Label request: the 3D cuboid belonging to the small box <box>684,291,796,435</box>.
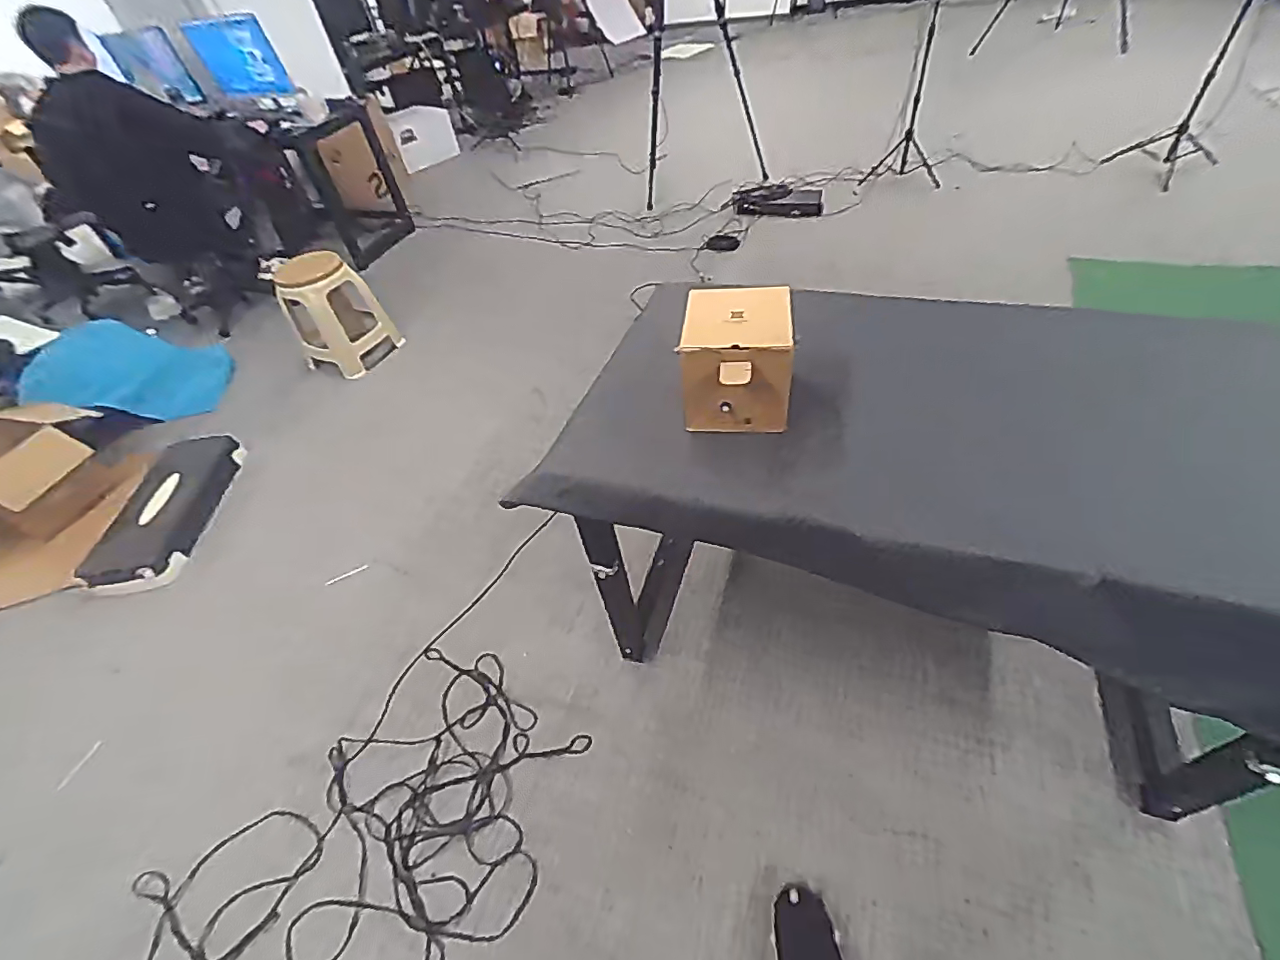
[{"bbox_3d":[0.164,-0.196,0.902,0.168,0.176,0.179,2,48,10],"label":"small box"}]
